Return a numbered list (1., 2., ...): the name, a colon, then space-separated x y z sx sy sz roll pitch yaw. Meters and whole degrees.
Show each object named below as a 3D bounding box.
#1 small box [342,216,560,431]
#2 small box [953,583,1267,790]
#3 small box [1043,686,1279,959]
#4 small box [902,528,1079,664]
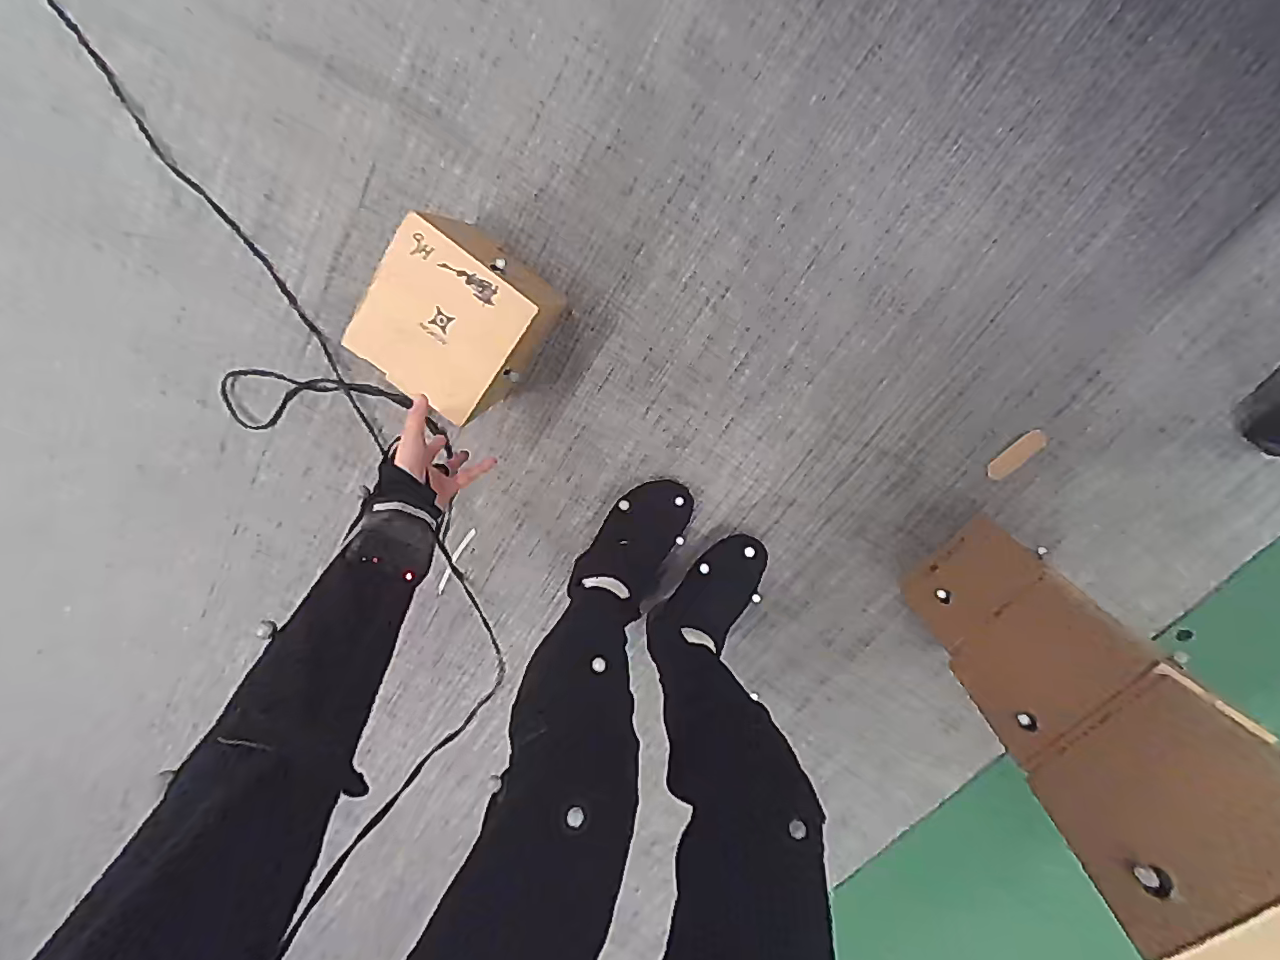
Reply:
1. small box: -0.220 -0.193 0.676 0.168 0.176 0.179 37 109 -10
2. small box: 0.511 0.252 0.623 0.168 0.176 0.179 32 111 -8
3. small box: 0.507 0.325 0.474 0.168 0.176 0.179 32 110 -9
4. small box: 0.517 0.191 0.772 0.179 0.176 0.168 34 109 -9
